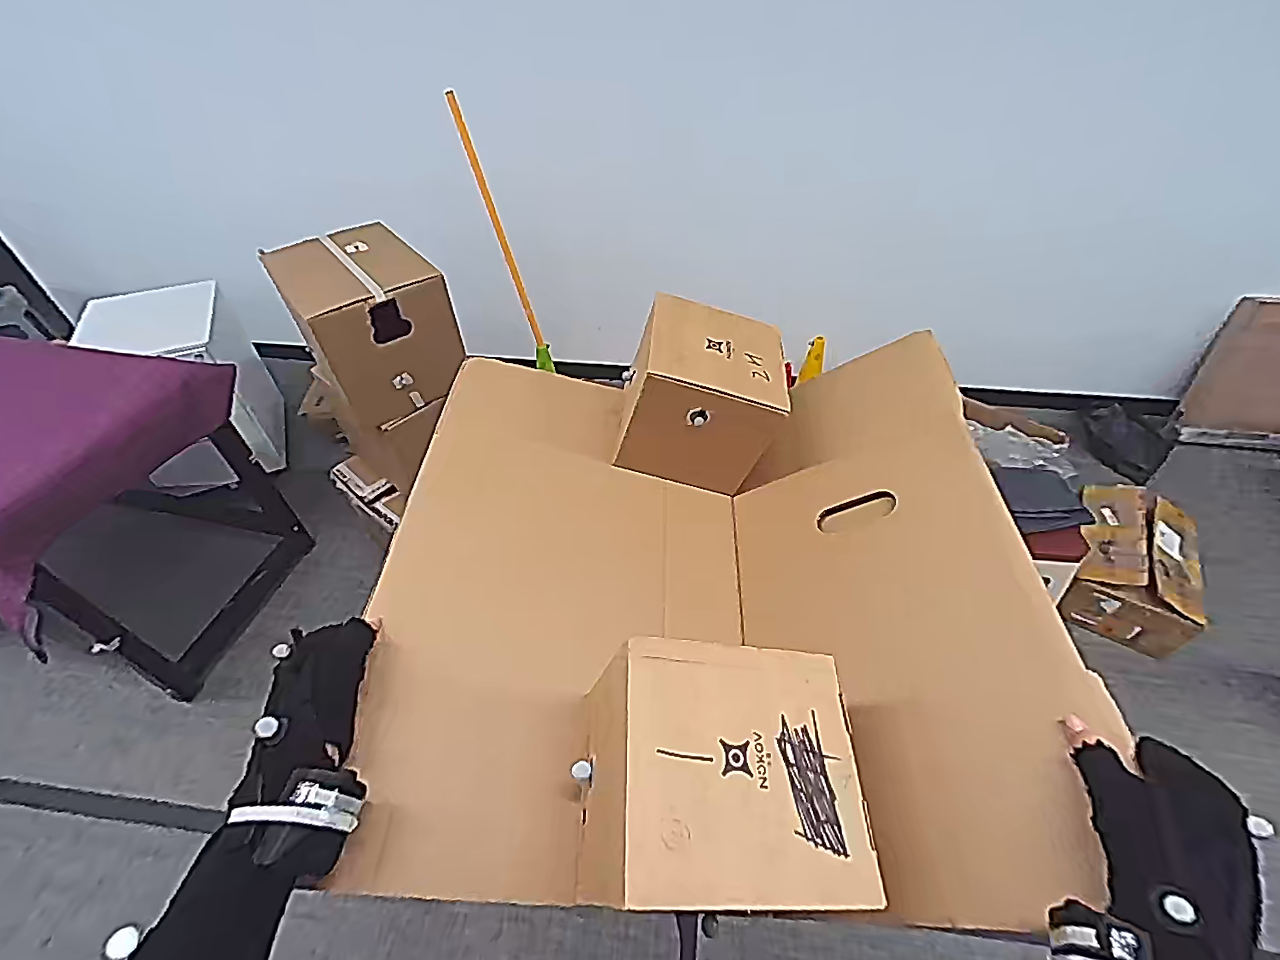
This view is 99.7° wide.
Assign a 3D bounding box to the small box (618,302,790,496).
[{"bbox_3d":[0.078,-0.100,0.720,0.179,0.176,0.168,15,50,-9],"label":"small box"}]
